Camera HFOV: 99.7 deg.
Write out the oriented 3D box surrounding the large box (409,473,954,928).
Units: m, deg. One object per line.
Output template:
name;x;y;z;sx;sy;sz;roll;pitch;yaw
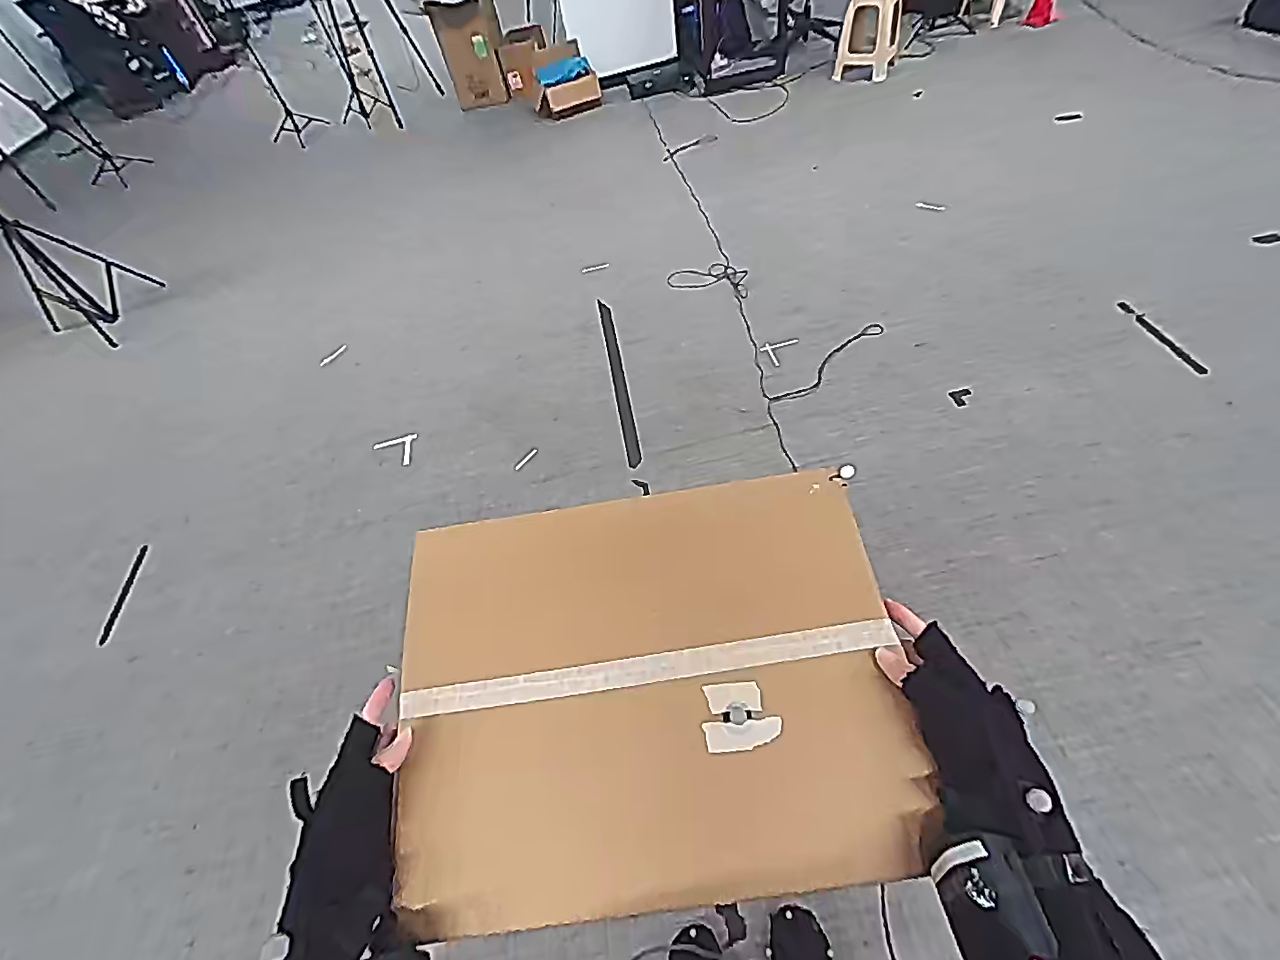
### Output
large box;0.021;0.227;0.584;0.408;0.320;0.320;-9;61;1
